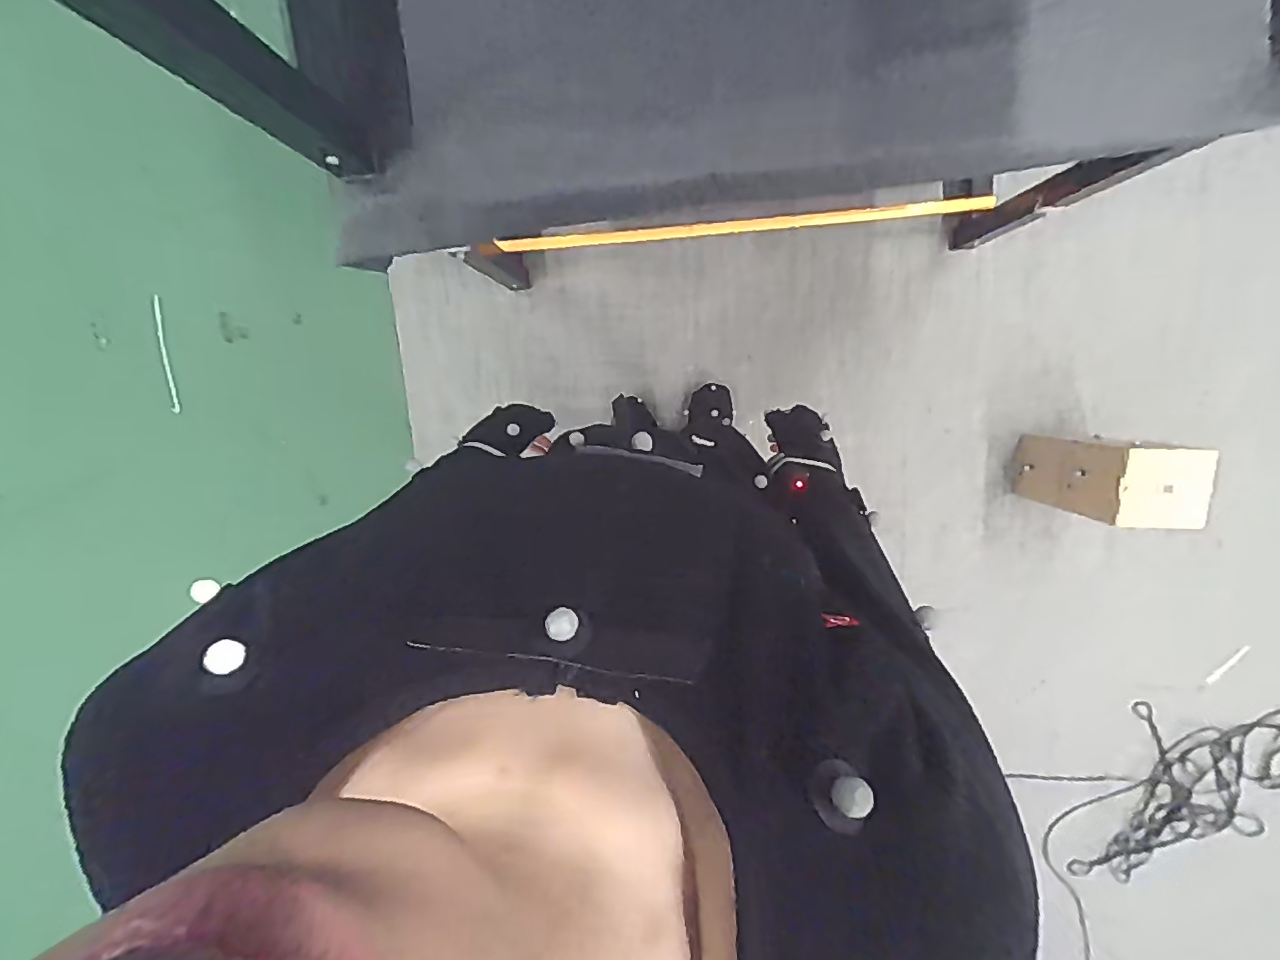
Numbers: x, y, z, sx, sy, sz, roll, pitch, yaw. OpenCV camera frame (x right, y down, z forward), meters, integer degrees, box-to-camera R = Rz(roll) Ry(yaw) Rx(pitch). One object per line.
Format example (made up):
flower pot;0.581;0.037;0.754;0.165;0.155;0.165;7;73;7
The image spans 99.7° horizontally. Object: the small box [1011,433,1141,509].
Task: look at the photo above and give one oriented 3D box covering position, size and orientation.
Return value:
small box;1.072;-0.028;1.343;0.179;0.176;0.168;2;100;3
